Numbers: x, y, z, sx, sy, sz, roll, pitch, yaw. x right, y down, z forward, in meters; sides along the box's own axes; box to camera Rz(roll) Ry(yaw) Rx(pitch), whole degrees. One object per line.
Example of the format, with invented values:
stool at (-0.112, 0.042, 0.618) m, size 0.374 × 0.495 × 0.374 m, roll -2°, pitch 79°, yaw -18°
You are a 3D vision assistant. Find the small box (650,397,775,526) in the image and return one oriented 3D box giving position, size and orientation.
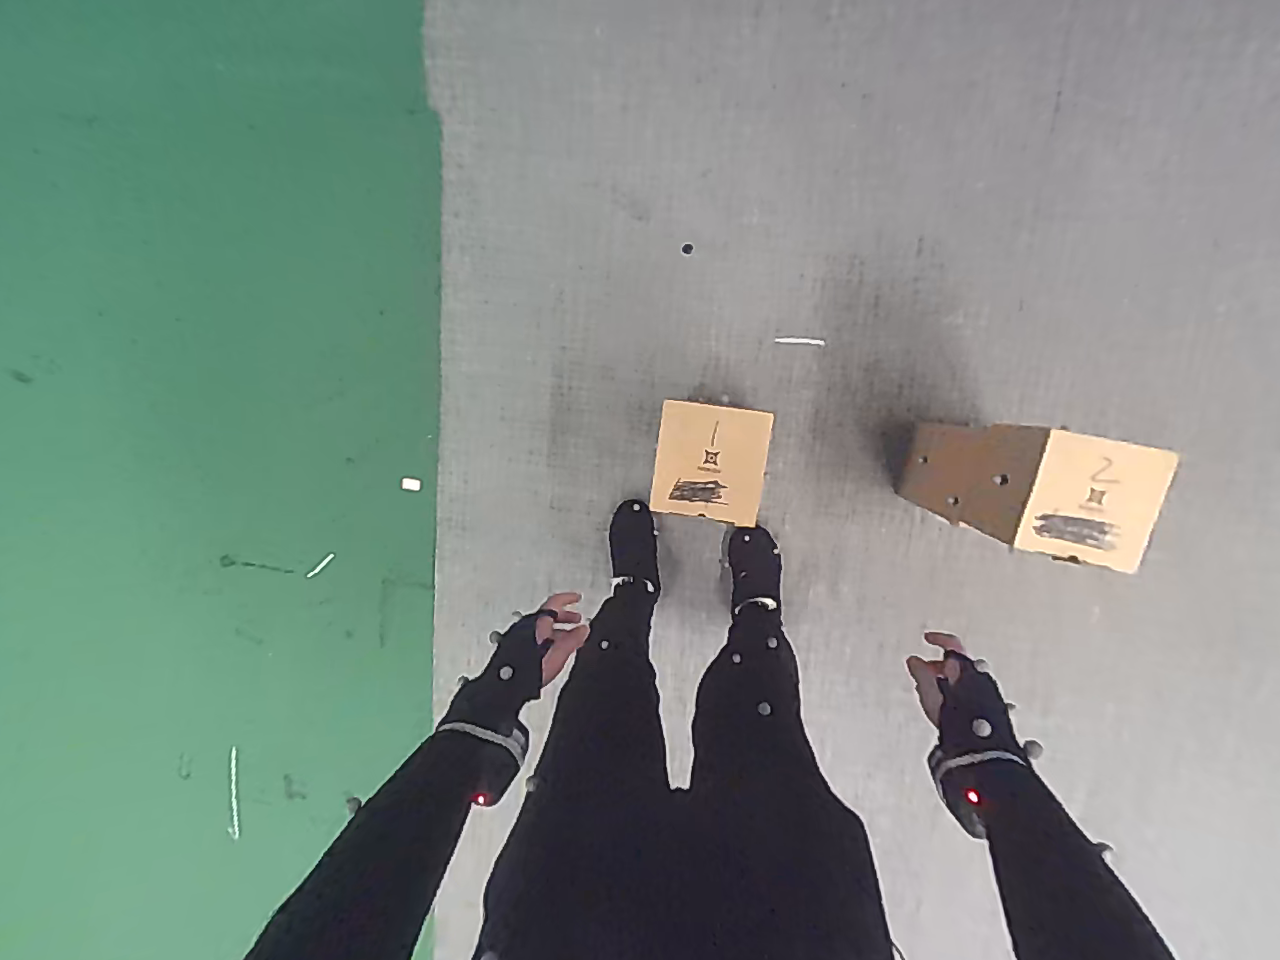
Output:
small box at (0.119, -0.038, 0.888) m, size 0.168 × 0.176 × 0.179 m, roll 9°, pitch 100°, yaw 7°

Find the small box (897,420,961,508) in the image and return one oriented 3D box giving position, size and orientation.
small box at (0.667, -0.022, 1.138) m, size 0.168 × 0.176 × 0.179 m, roll 17°, pitch 102°, yaw 8°

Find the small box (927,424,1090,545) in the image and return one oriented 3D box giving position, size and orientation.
small box at (0.650, -0.001, 0.979) m, size 0.168 × 0.176 × 0.179 m, roll 11°, pitch 101°, yaw 6°
